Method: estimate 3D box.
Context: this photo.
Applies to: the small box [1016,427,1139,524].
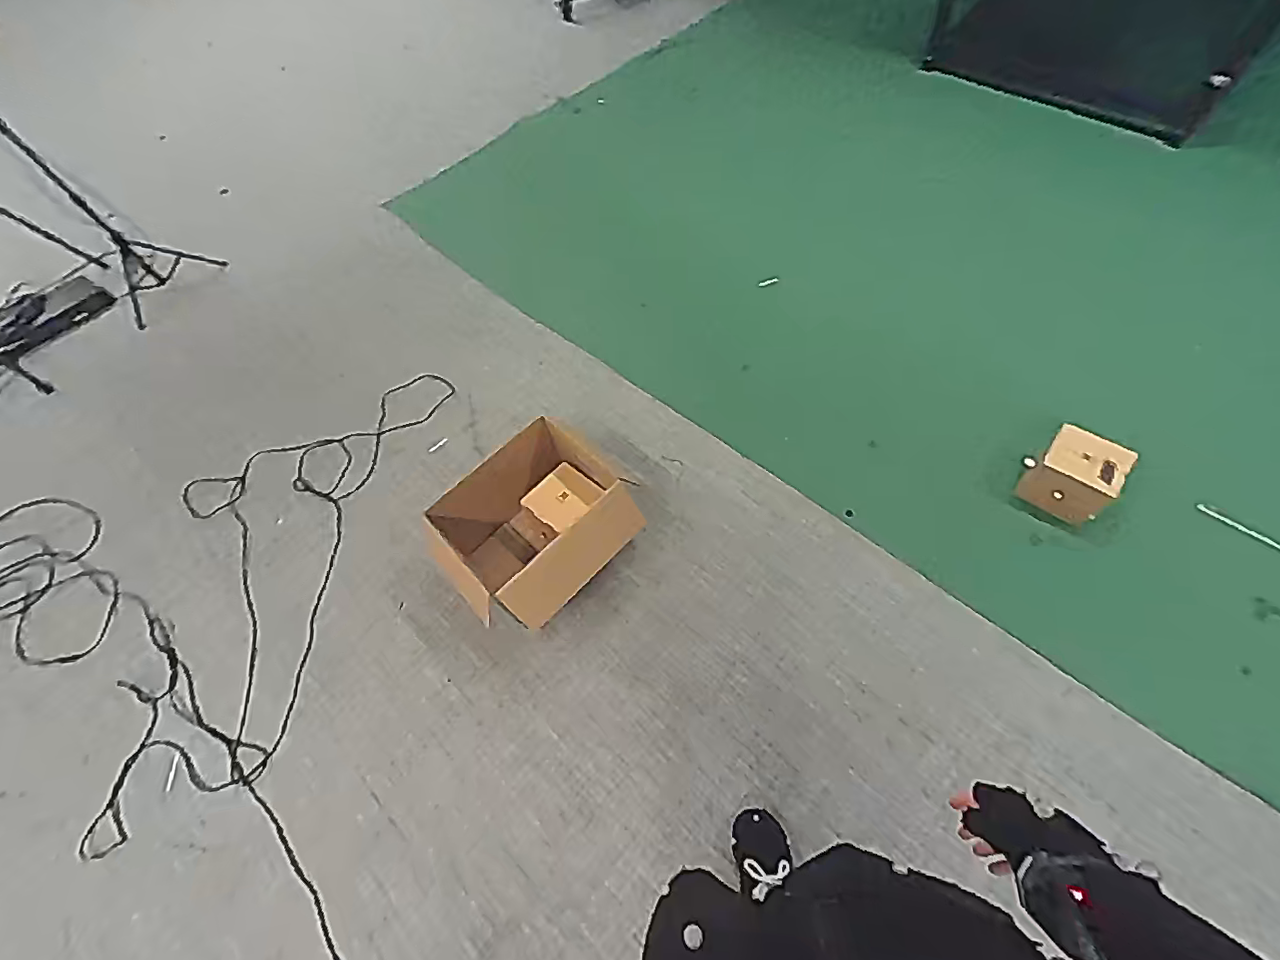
[{"bbox_3d":[1.172,-0.003,1.460,0.179,0.176,0.168,35,69,24],"label":"small box"}]
